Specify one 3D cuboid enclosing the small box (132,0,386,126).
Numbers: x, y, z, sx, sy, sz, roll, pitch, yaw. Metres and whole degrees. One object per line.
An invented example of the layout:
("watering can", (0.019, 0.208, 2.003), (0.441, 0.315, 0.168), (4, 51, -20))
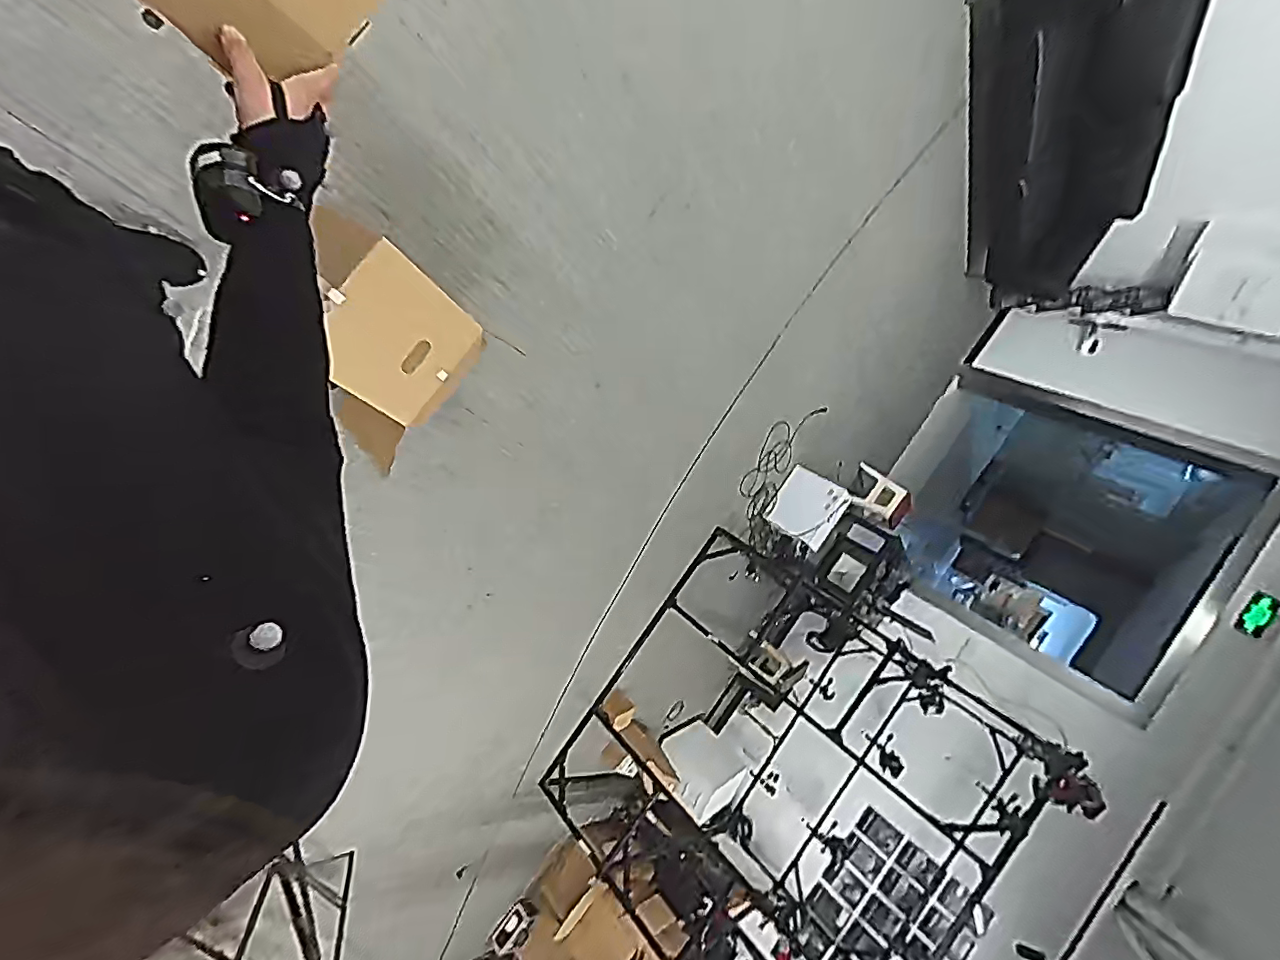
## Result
("small box", (-0.377, -0.476, 0.486), (0.168, 0.176, 0.179), (-46, 149, 4))
